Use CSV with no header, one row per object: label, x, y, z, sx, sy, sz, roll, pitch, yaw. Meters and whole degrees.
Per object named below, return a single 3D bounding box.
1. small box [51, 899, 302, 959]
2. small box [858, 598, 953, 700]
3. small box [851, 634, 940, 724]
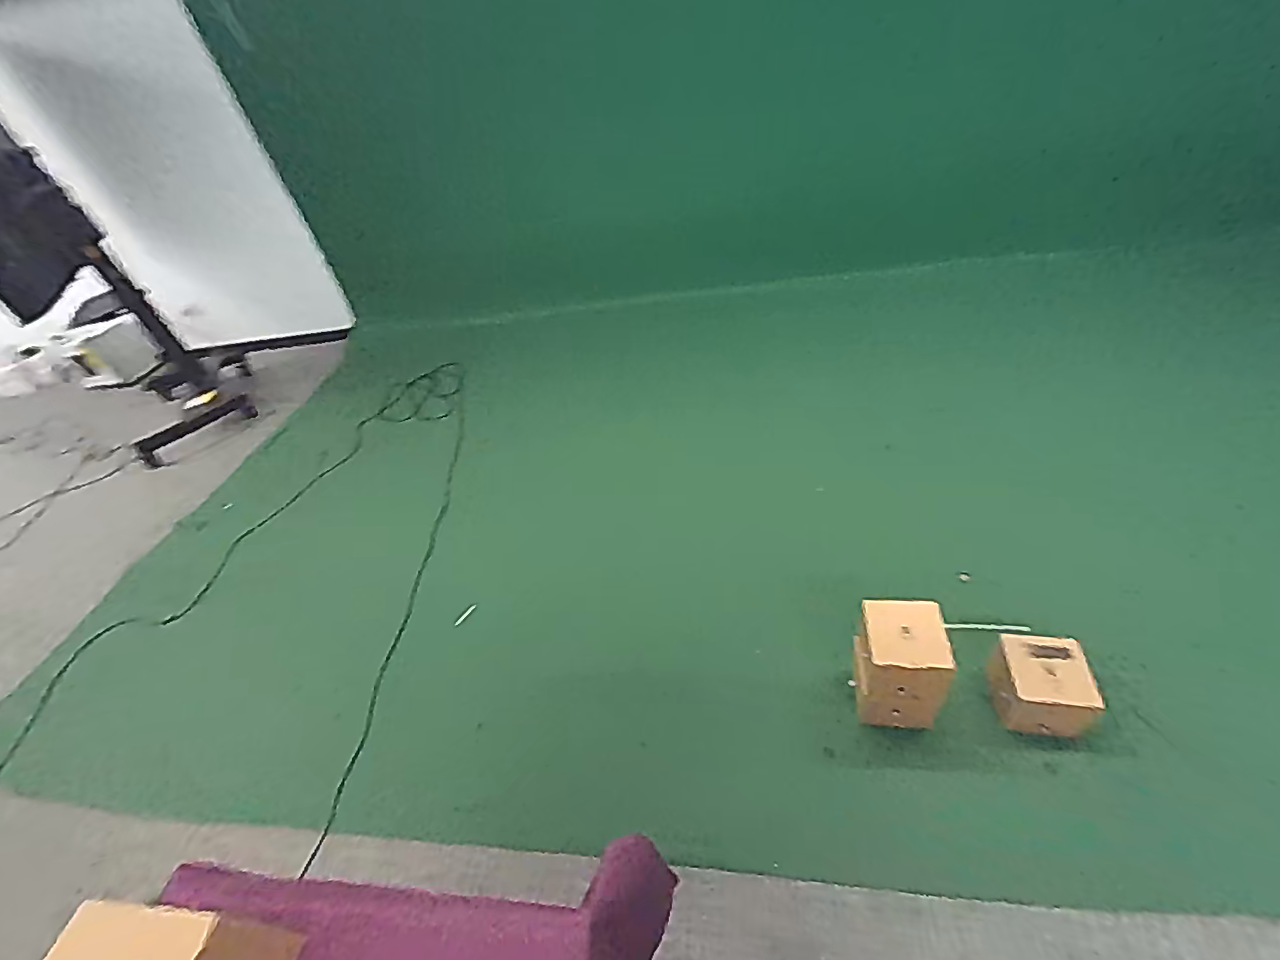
small box,-0.520,0.576,0.580,0.179,0.176,0.168,-1,44,10
small box,0.630,0.406,1.305,0.168,0.176,0.179,-2,43,14
small box,0.660,0.522,1.415,0.179,0.176,0.168,-3,42,14
